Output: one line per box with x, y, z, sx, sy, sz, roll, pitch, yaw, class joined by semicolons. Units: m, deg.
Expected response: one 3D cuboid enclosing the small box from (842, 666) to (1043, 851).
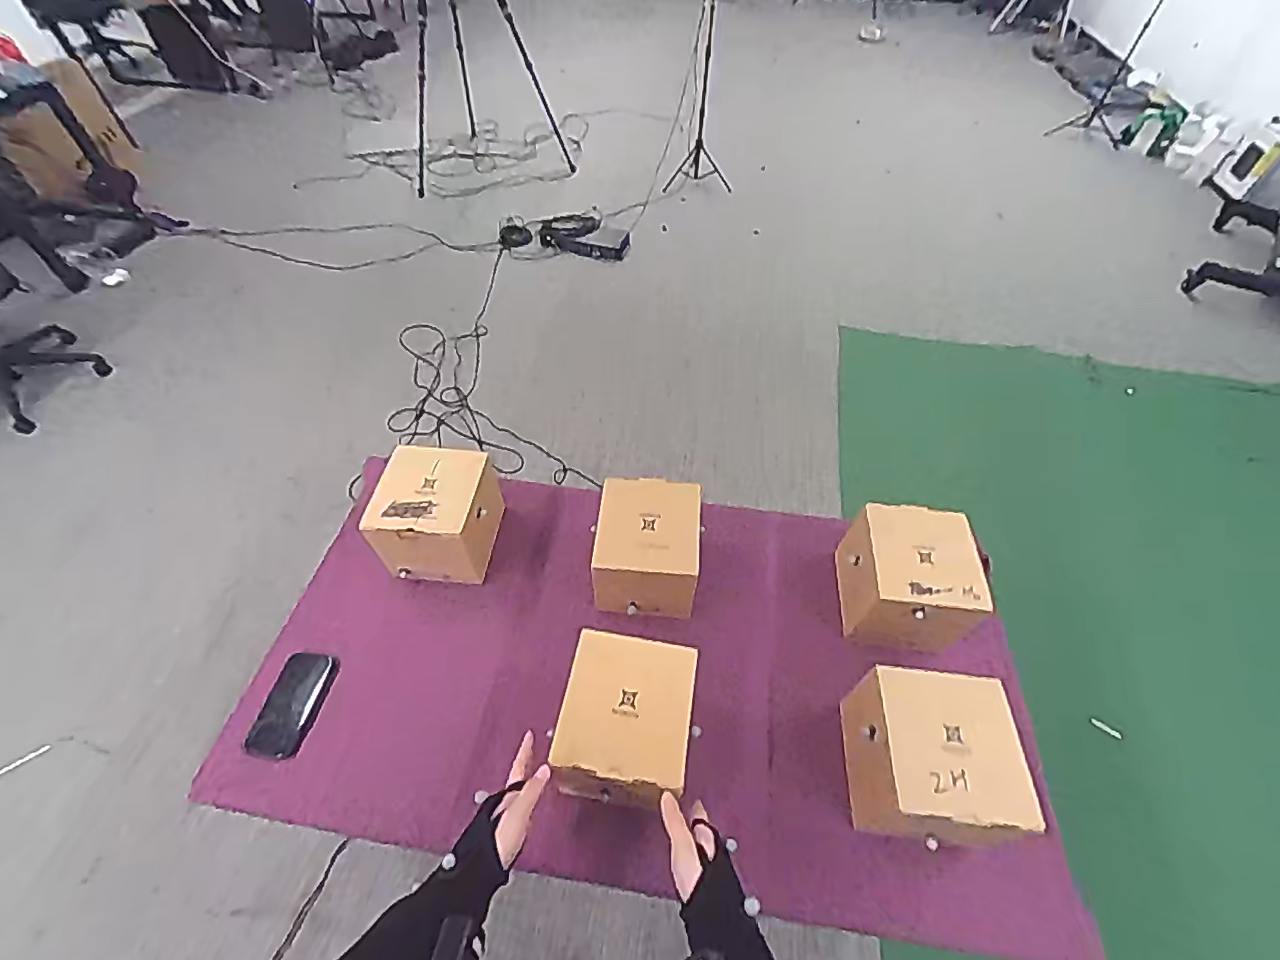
0.384;0.376;0.728;0.168;0.176;0.179;6;51;4;small box

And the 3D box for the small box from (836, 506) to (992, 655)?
0.437;0.168;0.899;0.168;0.176;0.179;6;51;4;small box

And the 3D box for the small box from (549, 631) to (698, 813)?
-0.019;0.337;0.751;0.168;0.176;0.179;9;51;5;small box

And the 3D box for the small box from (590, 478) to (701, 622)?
0.011;0.121;0.925;0.168;0.176;0.179;5;52;3;small box

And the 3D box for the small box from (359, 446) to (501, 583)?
-0.354;0.065;0.955;0.168;0.176;0.179;5;51;2;small box
